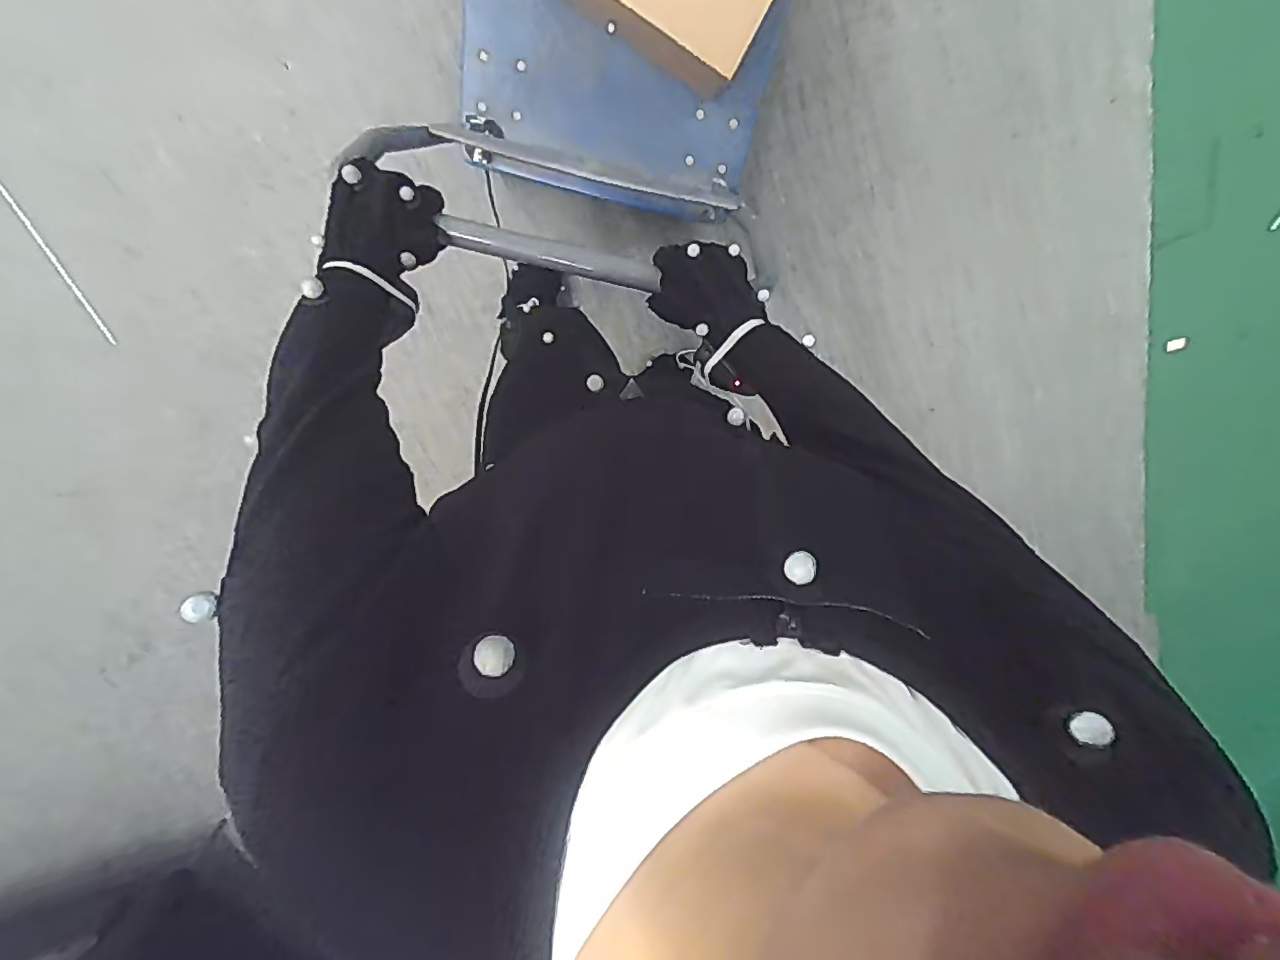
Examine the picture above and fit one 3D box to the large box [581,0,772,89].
[{"bbox_3d":[0.040,-0.864,0.802,0.408,0.320,0.320,26,118,-13],"label":"large box"}]
